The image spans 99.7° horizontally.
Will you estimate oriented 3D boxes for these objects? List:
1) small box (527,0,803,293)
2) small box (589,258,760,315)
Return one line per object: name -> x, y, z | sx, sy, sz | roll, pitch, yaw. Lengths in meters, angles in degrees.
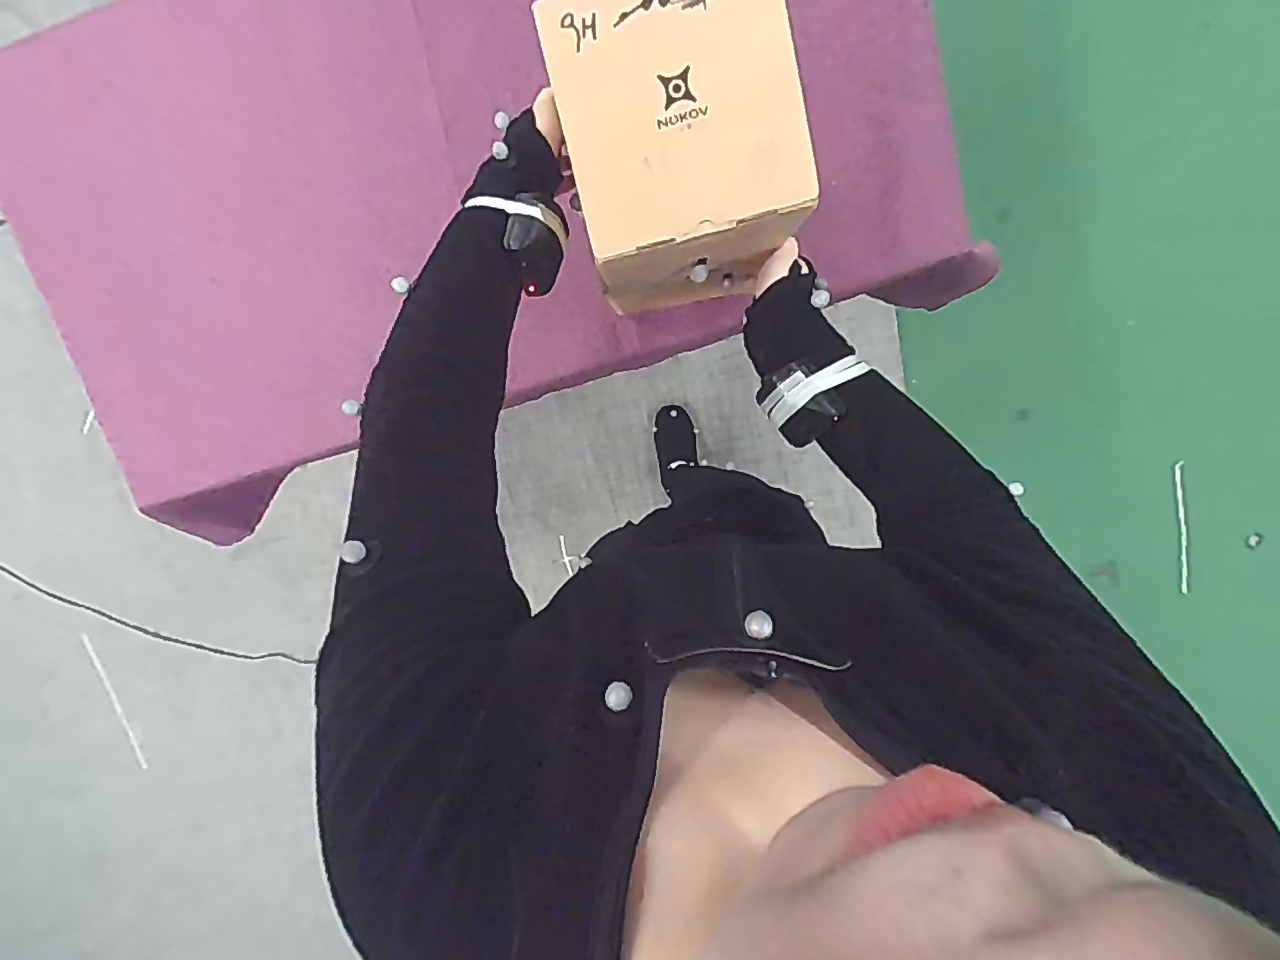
small box -> 0.024, -0.268, 0.456 | 0.168, 0.176, 0.179 | -13, 99, 5
small box -> 0.029, -0.294, 0.617 | 0.179, 0.176, 0.168 | -9, 99, 4
